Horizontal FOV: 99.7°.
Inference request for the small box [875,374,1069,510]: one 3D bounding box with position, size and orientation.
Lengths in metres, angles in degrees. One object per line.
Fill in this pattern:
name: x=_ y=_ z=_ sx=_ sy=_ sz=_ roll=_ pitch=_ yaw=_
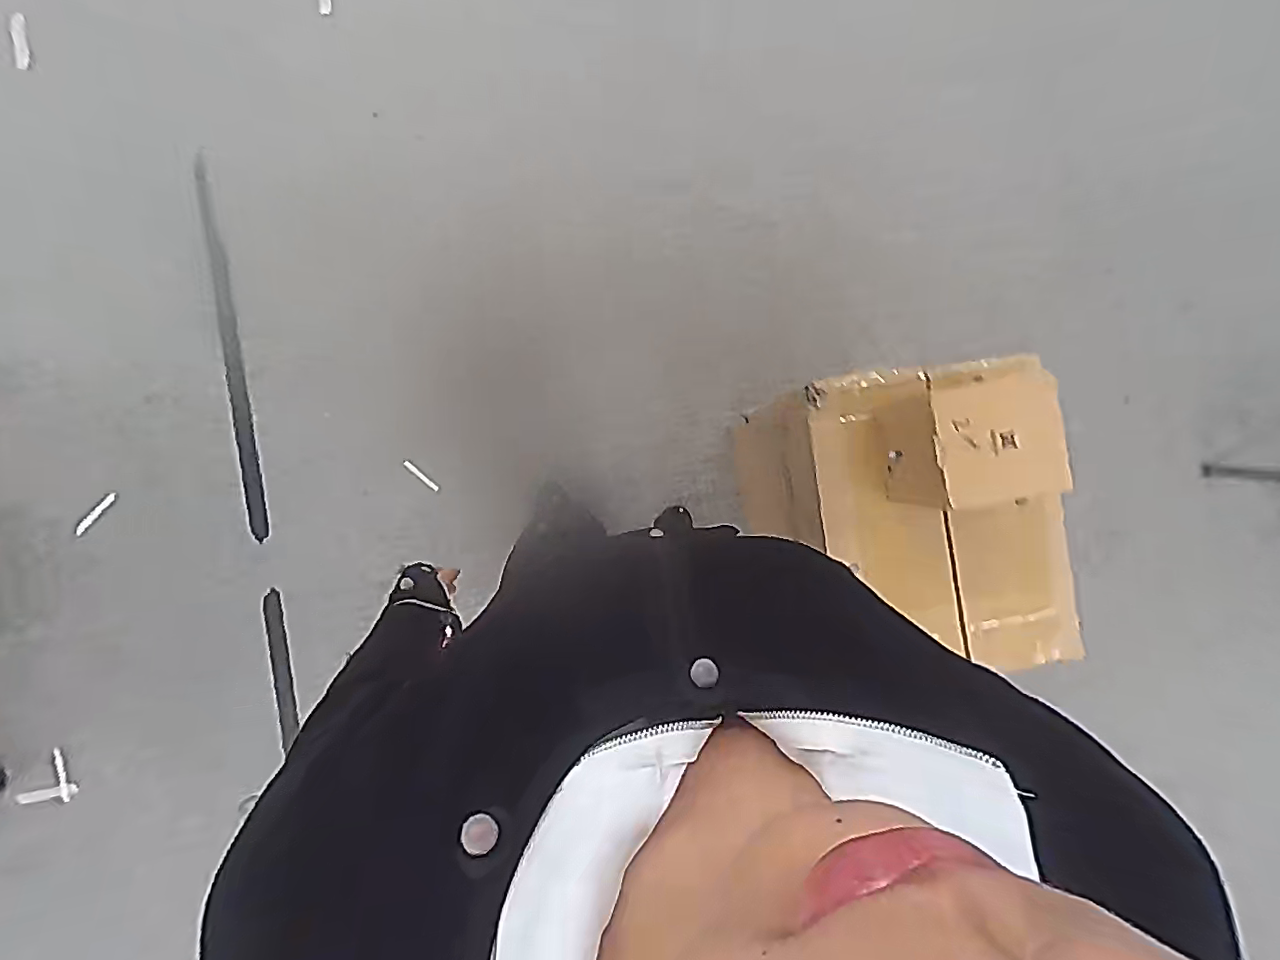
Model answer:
small box: x=0.485 y=-0.054 z=0.813 sx=0.179 sy=0.176 sz=0.168 roll=-10 pitch=90 yaw=-1
